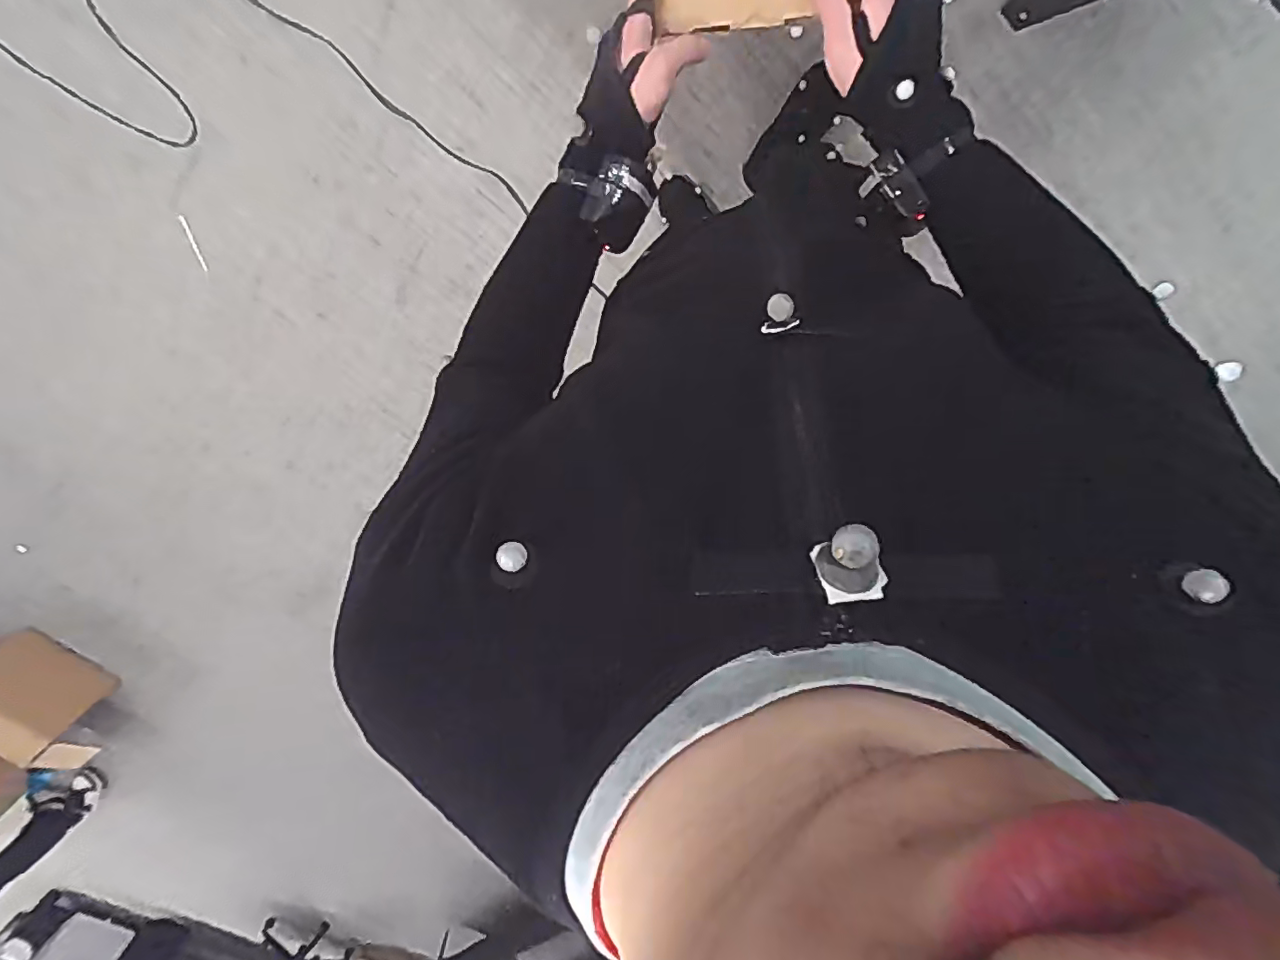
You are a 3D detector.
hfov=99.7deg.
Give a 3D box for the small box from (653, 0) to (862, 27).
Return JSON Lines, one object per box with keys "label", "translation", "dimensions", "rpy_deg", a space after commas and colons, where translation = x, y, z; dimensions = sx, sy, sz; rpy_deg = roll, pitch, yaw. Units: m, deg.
{"label": "small box", "translation": [0.097, -0.482, 0.423], "dimensions": [0.168, 0.176, 0.179], "rpy_deg": [2, 132, 10]}
